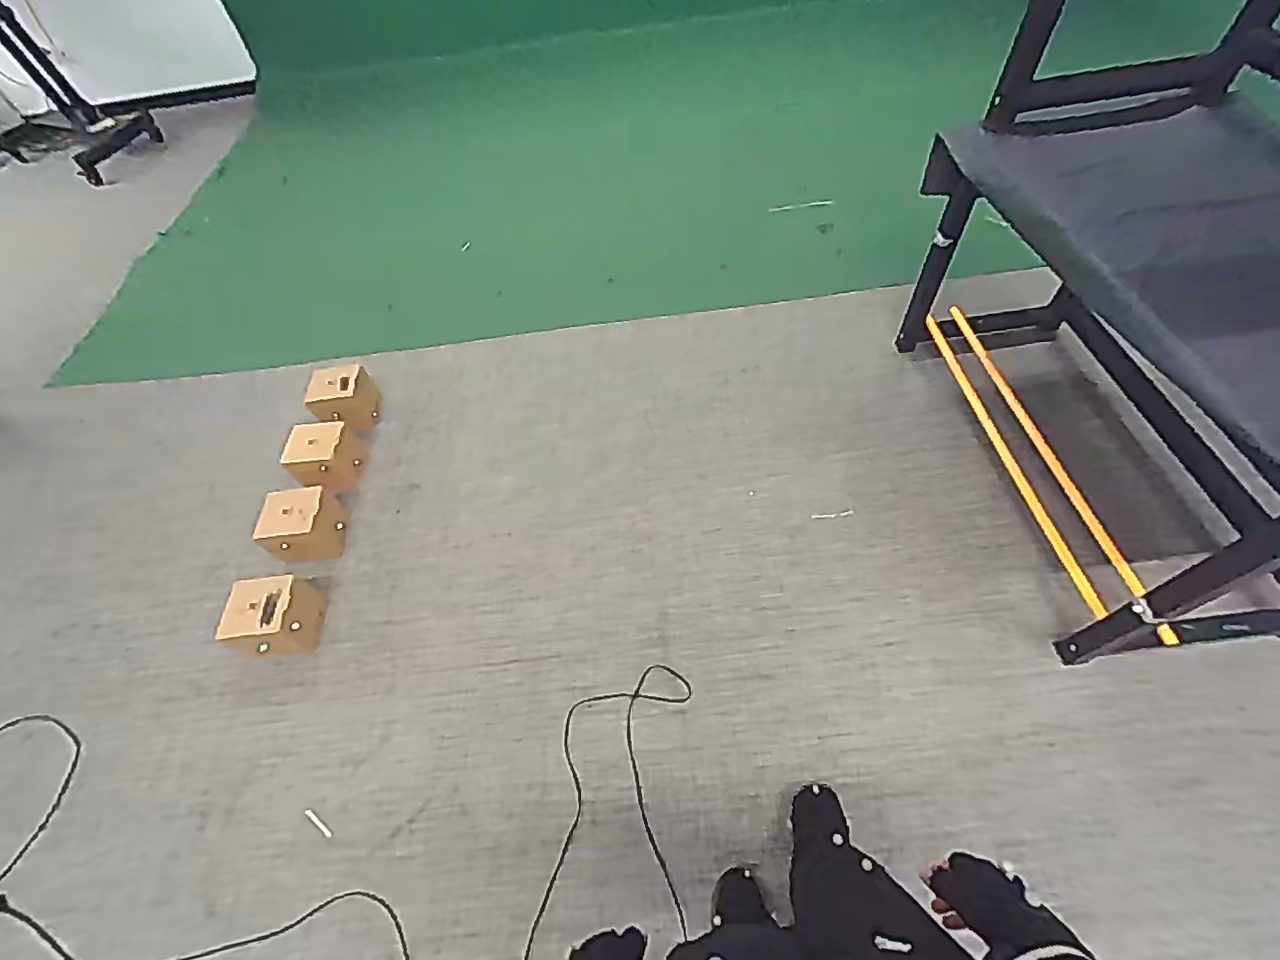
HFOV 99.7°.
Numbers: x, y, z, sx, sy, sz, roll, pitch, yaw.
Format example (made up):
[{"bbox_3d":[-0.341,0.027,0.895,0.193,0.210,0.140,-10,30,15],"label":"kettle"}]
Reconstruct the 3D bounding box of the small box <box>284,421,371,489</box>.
[{"bbox_3d":[-1.052,-0.077,1.835,0.179,0.176,0.168,-5,55,2],"label":"small box"}]

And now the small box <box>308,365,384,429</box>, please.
[{"bbox_3d":[-1.072,-0.297,1.989,0.179,0.176,0.168,-8,55,1],"label":"small box"}]

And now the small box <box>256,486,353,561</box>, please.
[{"bbox_3d":[-1.032,0.140,1.678,0.179,0.176,0.168,-7,56,1],"label":"small box"}]
